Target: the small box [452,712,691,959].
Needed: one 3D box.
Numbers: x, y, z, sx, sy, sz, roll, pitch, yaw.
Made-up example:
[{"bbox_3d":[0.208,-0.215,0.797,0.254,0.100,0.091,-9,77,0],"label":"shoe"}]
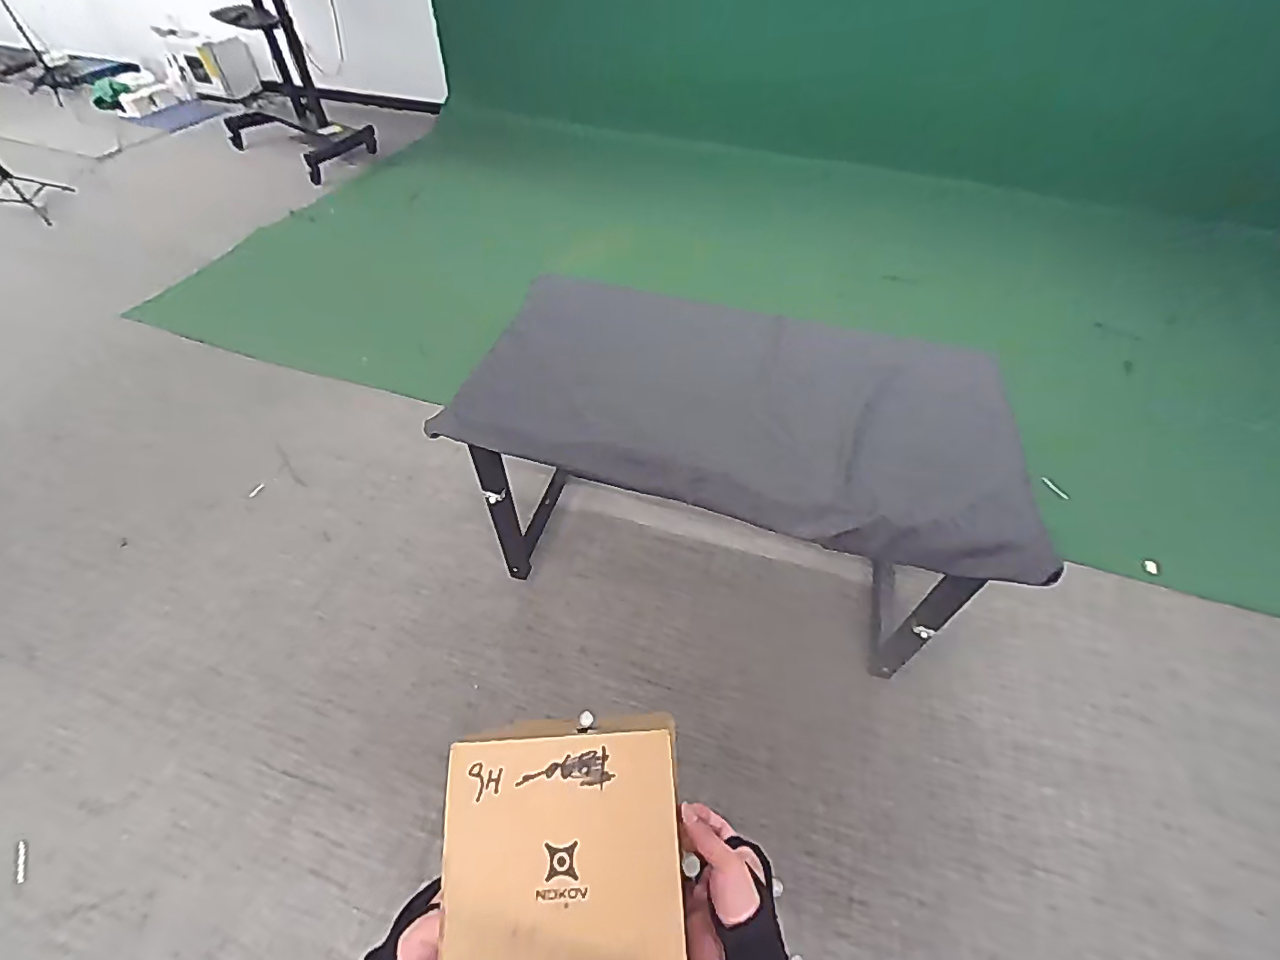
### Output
[{"bbox_3d":[-0.044,0.302,0.455,0.168,0.176,0.179,-4,72,2],"label":"small box"}]
